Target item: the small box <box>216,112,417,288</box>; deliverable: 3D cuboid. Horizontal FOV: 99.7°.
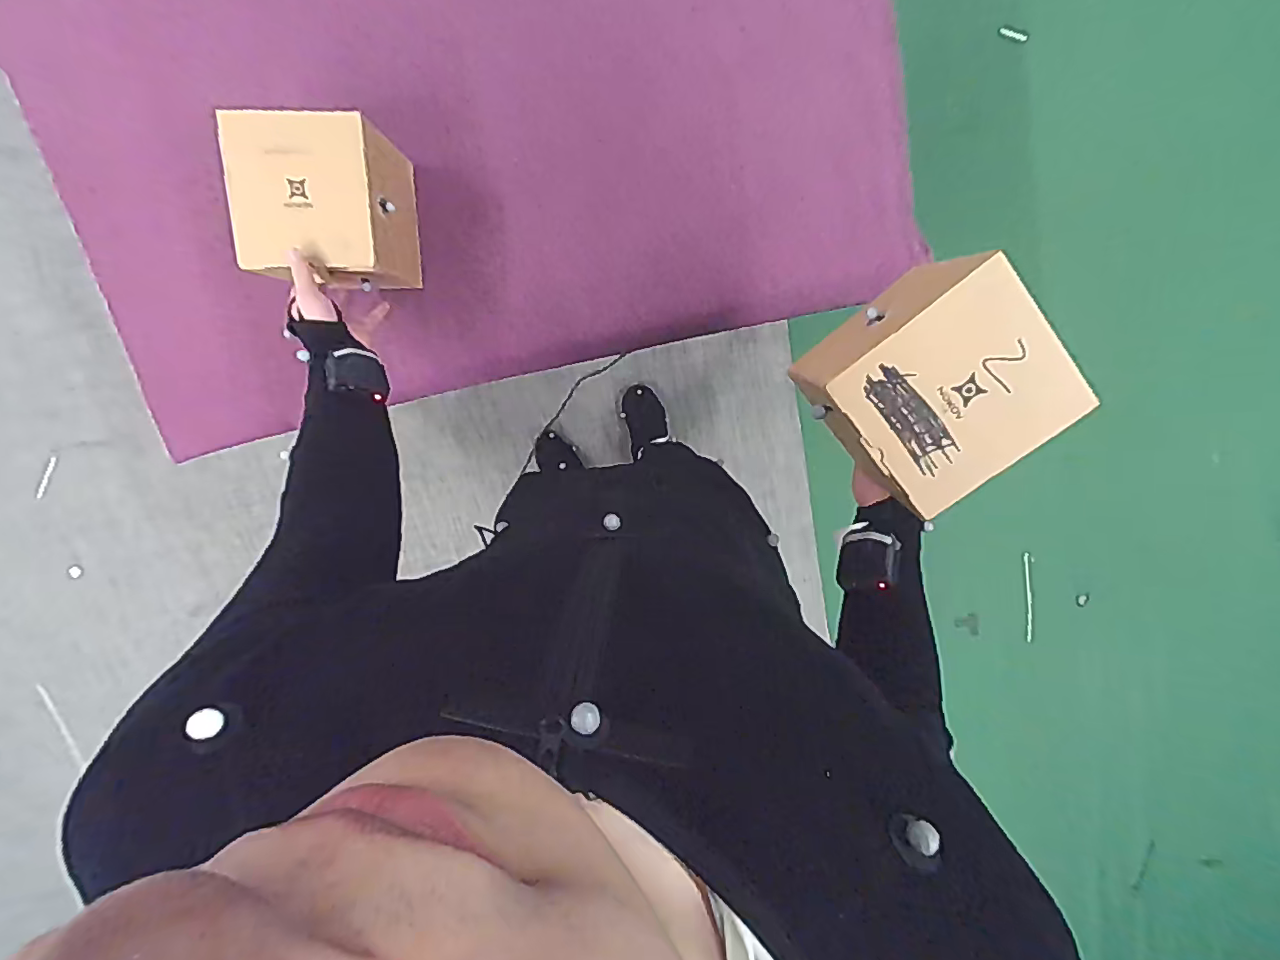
[{"bbox_3d":[-0.411,-0.356,0.721,0.168,0.176,0.179,0,102,-3],"label":"small box"}]
